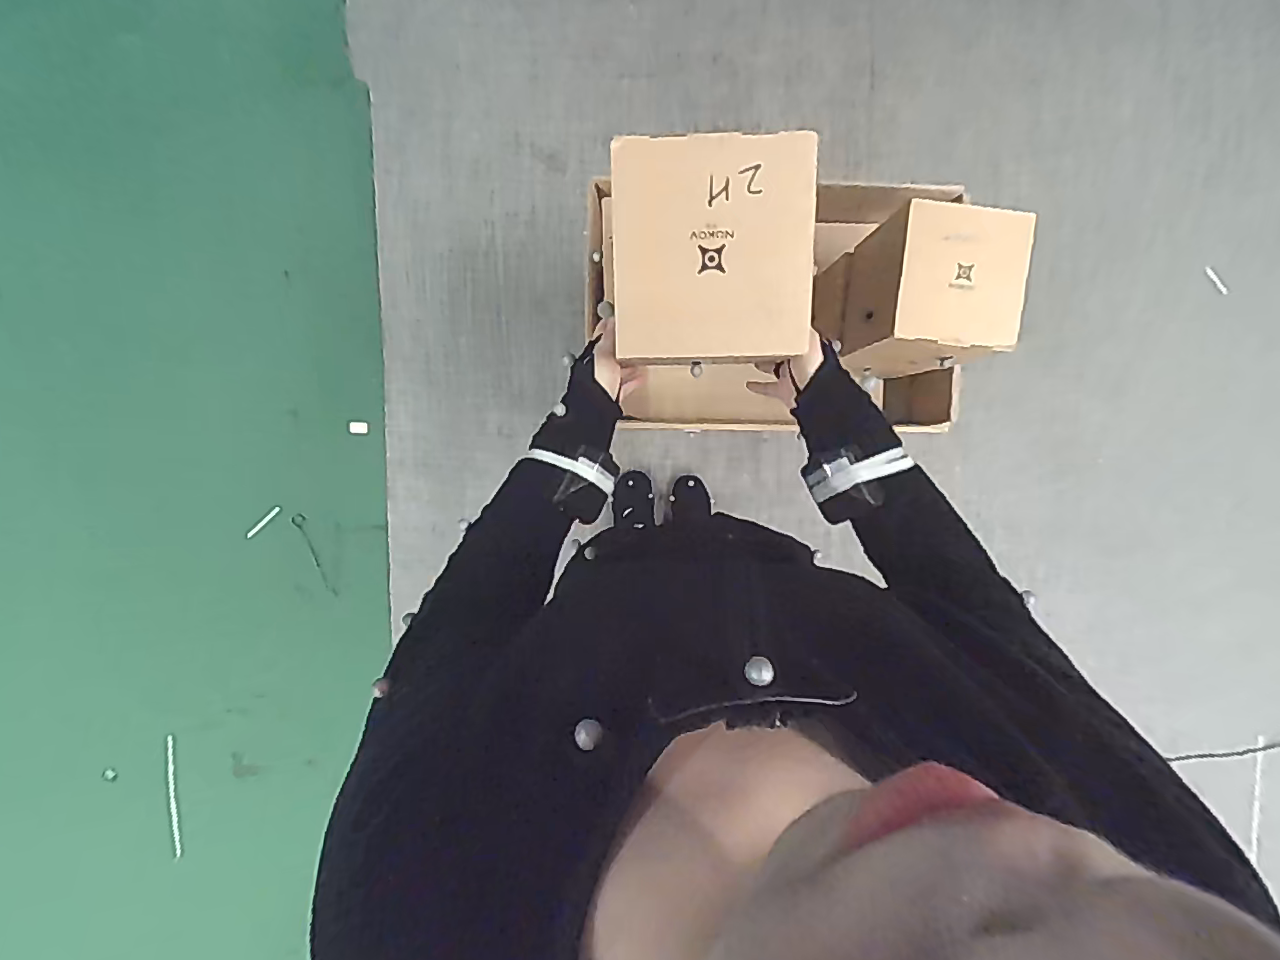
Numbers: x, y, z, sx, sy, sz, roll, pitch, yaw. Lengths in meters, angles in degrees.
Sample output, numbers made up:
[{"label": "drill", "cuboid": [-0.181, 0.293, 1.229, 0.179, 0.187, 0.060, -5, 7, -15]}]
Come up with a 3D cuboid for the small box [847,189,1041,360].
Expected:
[{"label": "small box", "cuboid": [0.406, -0.270, 0.753, 0.168, 0.176, 0.179, 6, 93, -2]}]

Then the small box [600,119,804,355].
[{"label": "small box", "cuboid": [0.055, -0.213, 0.525, 0.168, 0.176, 0.179, -2, 100, 2]}]
